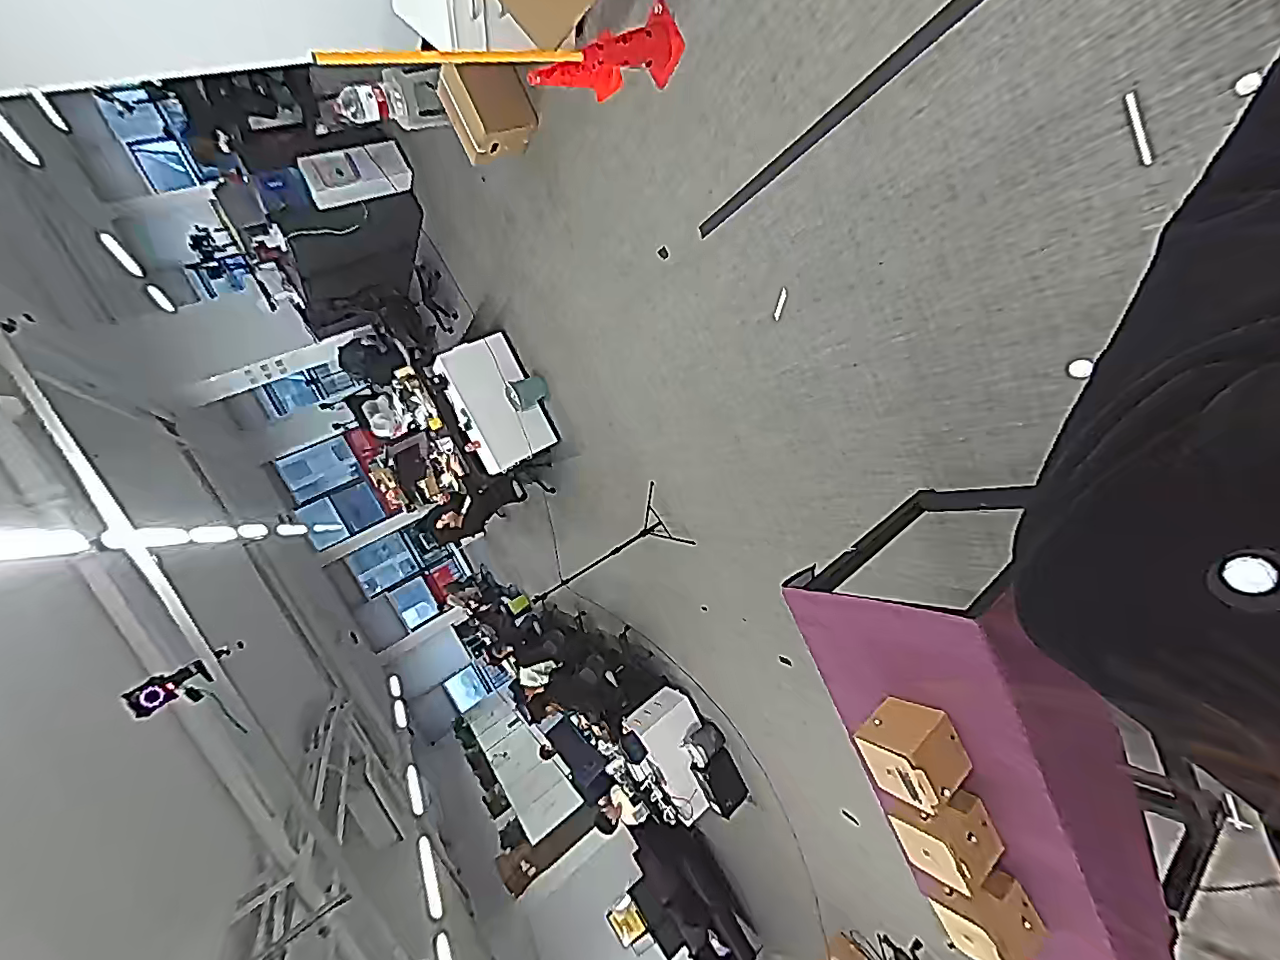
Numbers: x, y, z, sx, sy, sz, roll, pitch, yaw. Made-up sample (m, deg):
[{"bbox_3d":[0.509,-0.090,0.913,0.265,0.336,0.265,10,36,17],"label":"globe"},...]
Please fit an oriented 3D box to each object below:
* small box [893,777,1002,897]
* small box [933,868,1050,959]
[{"bbox_3d":[0.817,0.927,1.427,0.168,0.176,0.179,63,155,-6],"label":"small box"},{"bbox_3d":[0.942,1.166,1.451,0.168,0.176,0.179,59,155,0],"label":"small box"}]
